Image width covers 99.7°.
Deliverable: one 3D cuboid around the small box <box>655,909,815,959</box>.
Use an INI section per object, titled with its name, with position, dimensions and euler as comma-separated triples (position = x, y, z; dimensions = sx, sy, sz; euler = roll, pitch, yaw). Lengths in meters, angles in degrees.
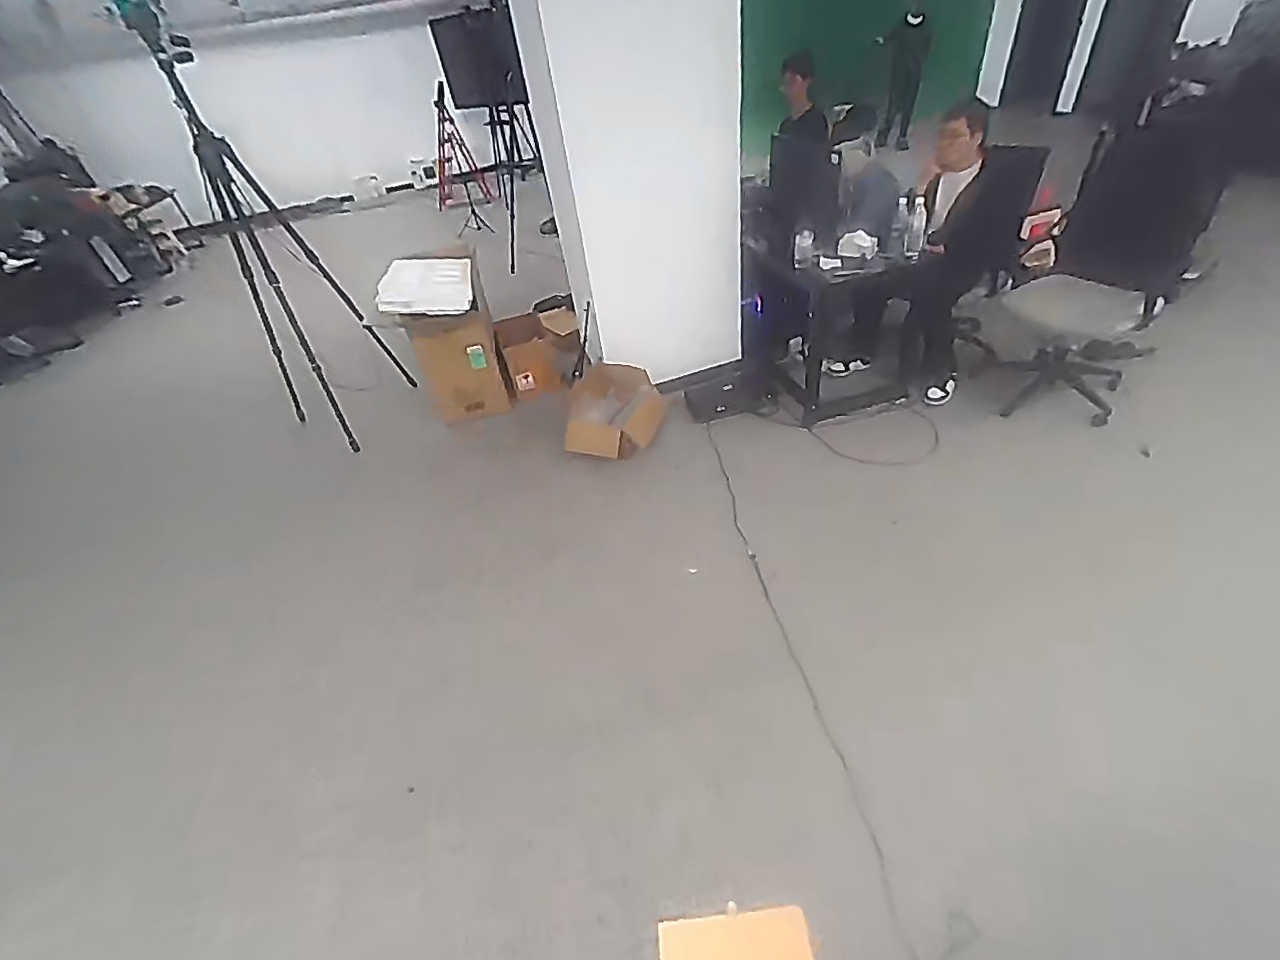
[small box]
position = 0.114, 0.622, 0.619
dimensions = 0.179, 0.176, 0.168
euler = -5, 42, -3
